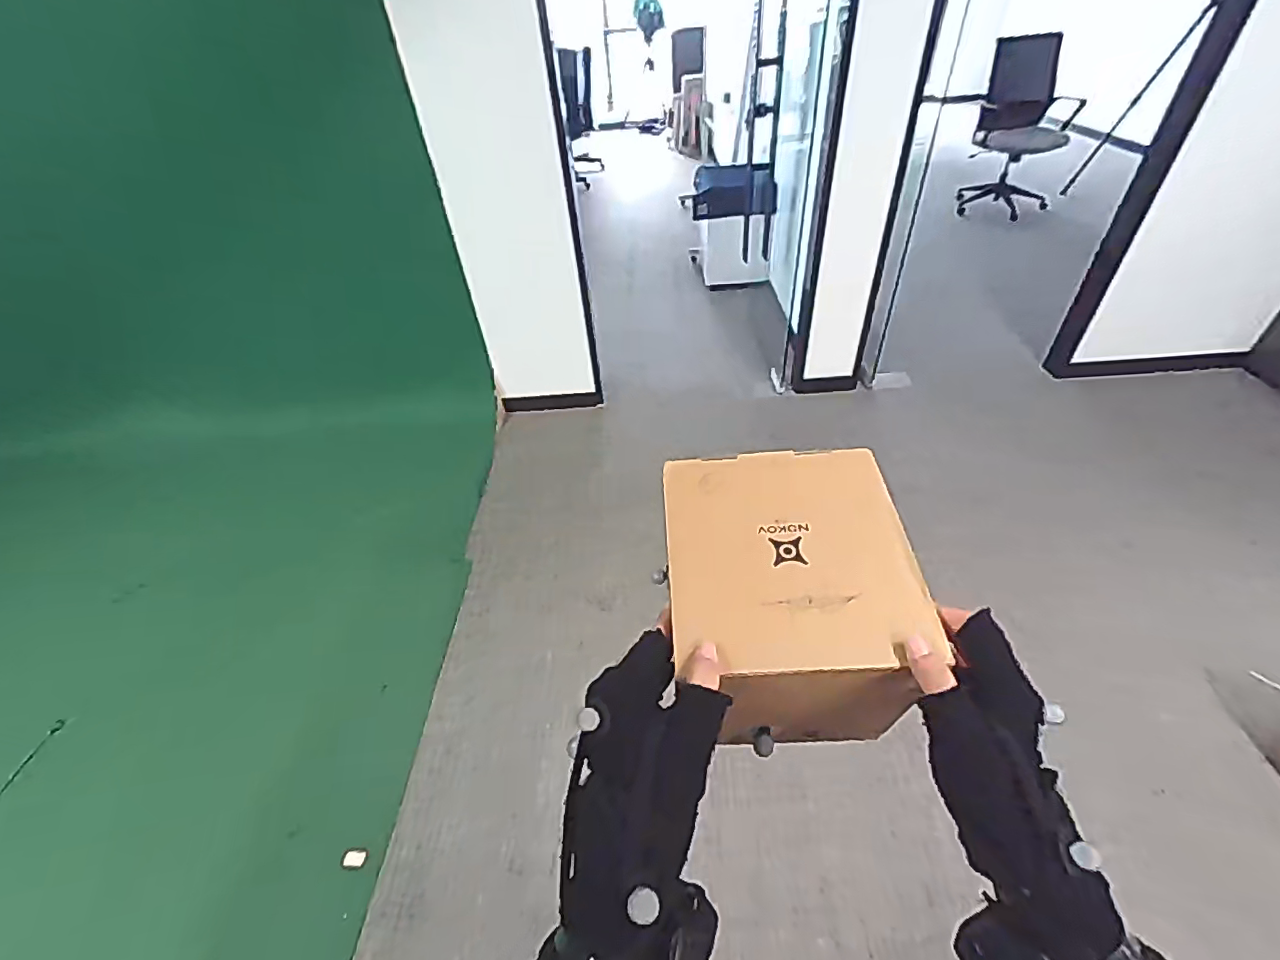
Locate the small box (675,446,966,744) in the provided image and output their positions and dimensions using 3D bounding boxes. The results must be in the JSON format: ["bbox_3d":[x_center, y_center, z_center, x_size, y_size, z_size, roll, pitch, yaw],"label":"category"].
[{"bbox_3d":[0.113,0.095,0.432,0.168,0.176,0.179,-4,51,3],"label":"small box"}]
